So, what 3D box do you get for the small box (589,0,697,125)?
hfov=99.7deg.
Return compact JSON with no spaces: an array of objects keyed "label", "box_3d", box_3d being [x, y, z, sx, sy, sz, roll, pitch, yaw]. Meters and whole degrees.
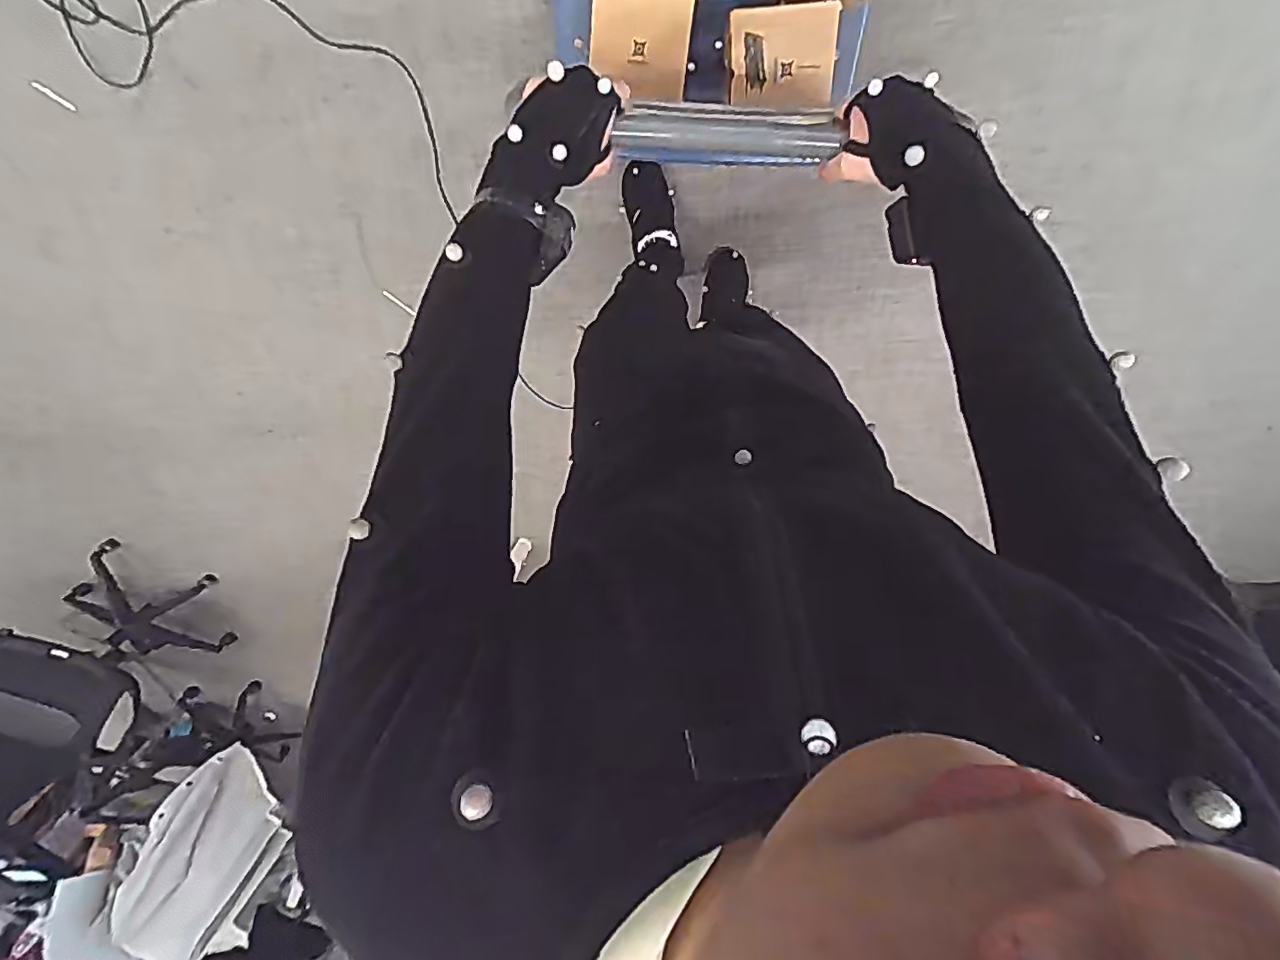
[{"label":"small box","box_3d":[0.002,-0.754,0.973,0.168,0.176,0.179,6,124,-2]}]
